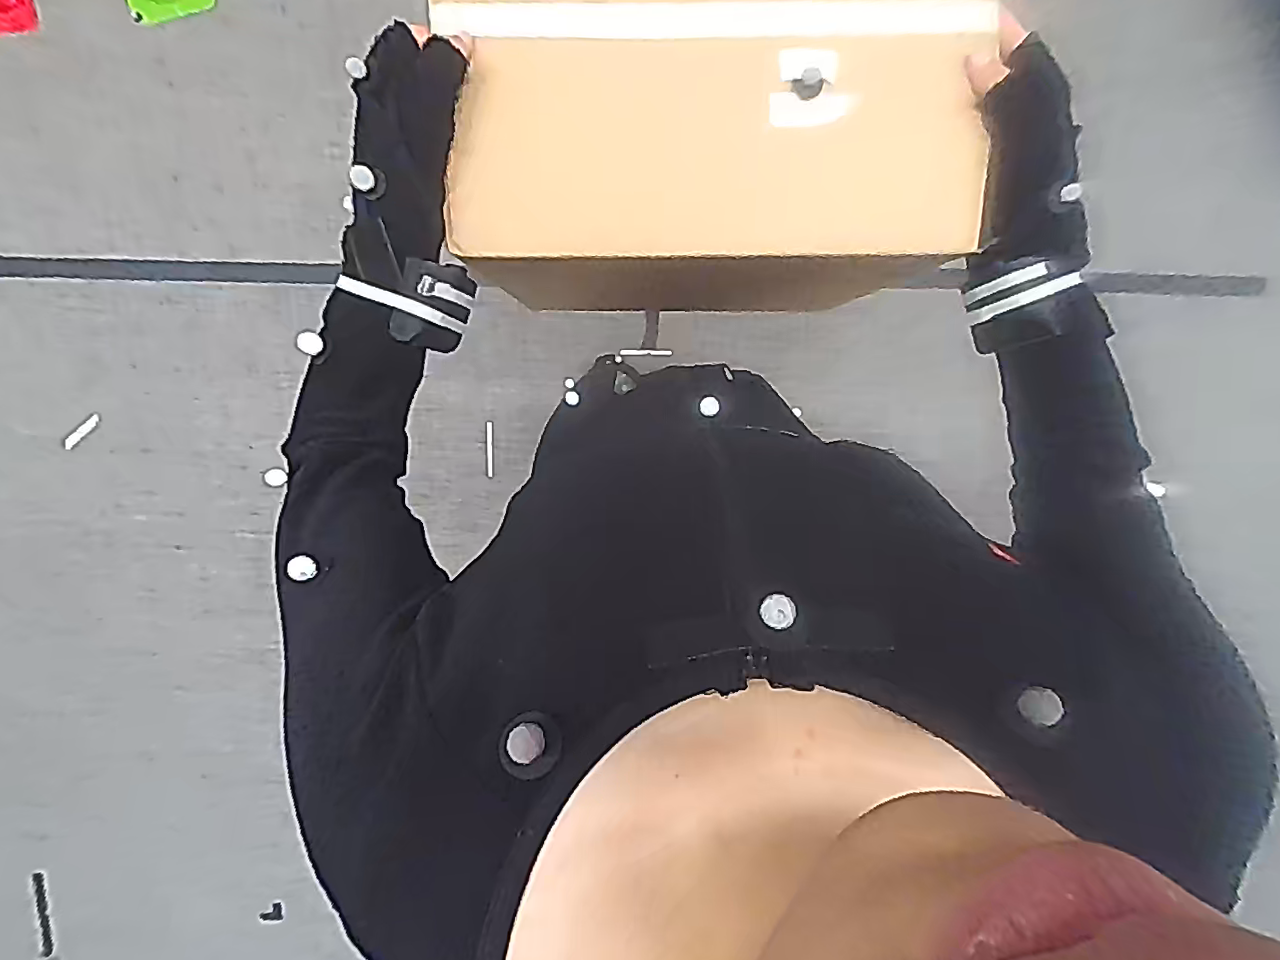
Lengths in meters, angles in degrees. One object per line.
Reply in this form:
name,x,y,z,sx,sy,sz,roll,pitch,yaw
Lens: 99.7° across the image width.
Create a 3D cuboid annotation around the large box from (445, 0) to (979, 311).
large box,0.050,-0.358,0.549,0.408,0.320,0.320,-1,100,-1
